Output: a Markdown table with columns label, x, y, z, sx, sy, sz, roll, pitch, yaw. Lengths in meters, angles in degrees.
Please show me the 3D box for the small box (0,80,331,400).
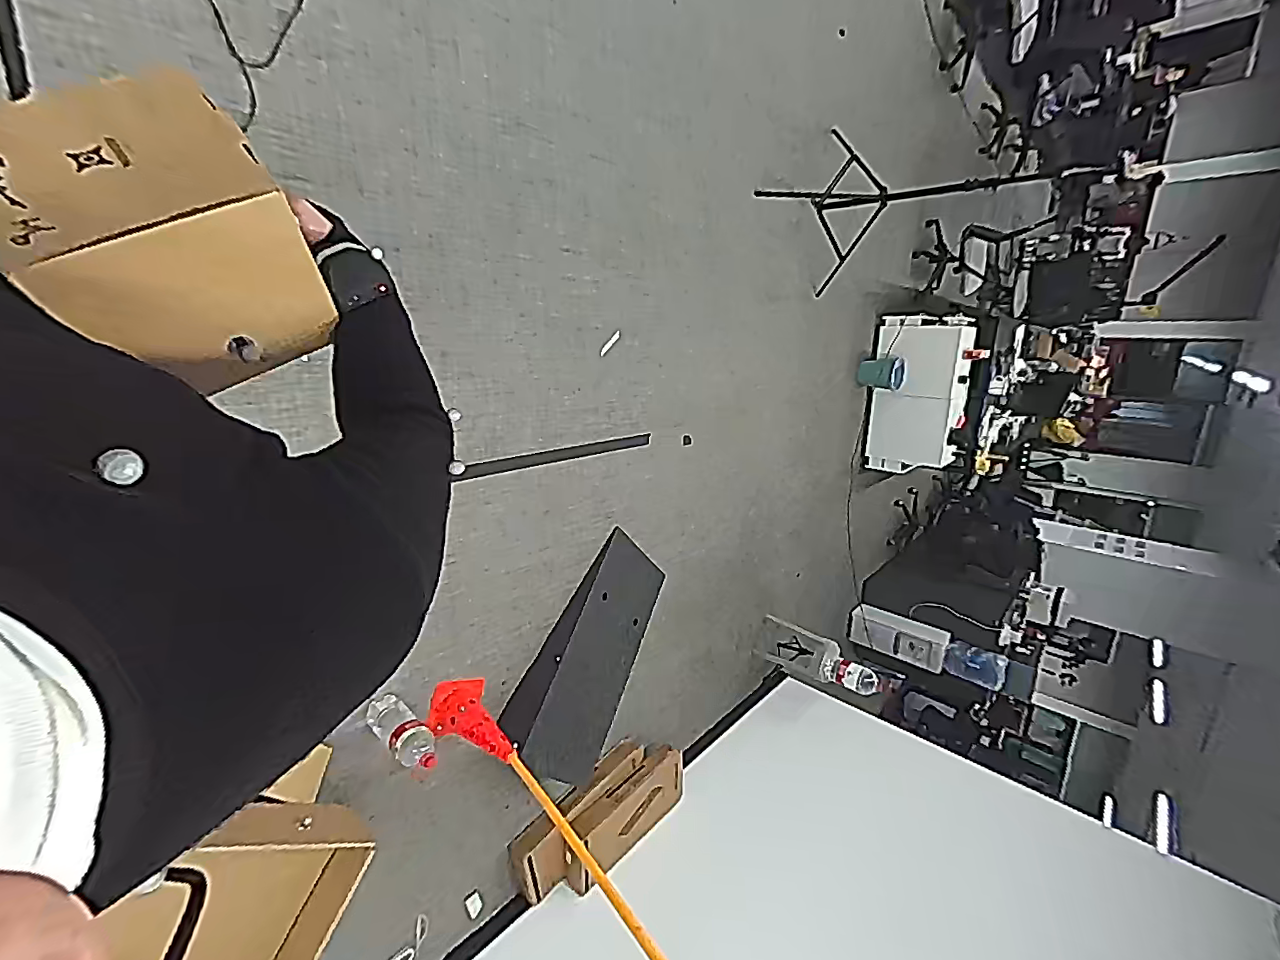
| label | x | y | z | sx | sy | sz | roll | pitch | yaw |
| --- | --- | --- | --- | --- | --- | --- | --- | --- | --- |
| small box | -0.408 | -0.207 | 0.483 | 0.179 | 0.168 | 0.176 | -35 | 164 | -25 |
